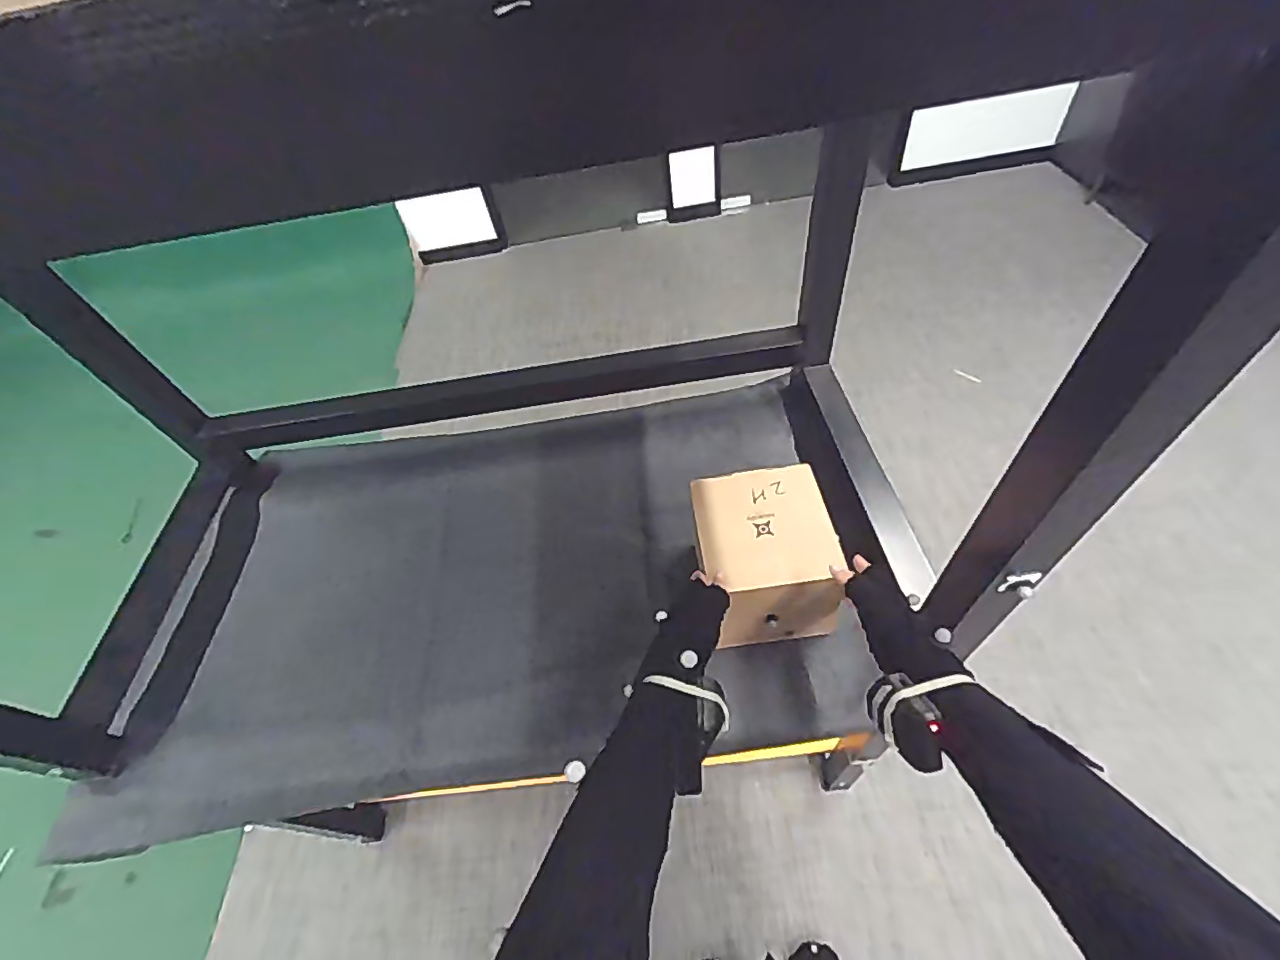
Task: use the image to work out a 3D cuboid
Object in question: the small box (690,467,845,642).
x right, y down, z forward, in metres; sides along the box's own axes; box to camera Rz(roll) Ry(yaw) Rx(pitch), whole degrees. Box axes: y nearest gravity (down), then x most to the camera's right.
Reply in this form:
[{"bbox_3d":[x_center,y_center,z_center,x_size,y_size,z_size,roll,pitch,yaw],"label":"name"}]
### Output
[{"bbox_3d":[0.165,0.110,0.743,0.168,0.176,0.179,-8,50,3],"label":"small box"}]
